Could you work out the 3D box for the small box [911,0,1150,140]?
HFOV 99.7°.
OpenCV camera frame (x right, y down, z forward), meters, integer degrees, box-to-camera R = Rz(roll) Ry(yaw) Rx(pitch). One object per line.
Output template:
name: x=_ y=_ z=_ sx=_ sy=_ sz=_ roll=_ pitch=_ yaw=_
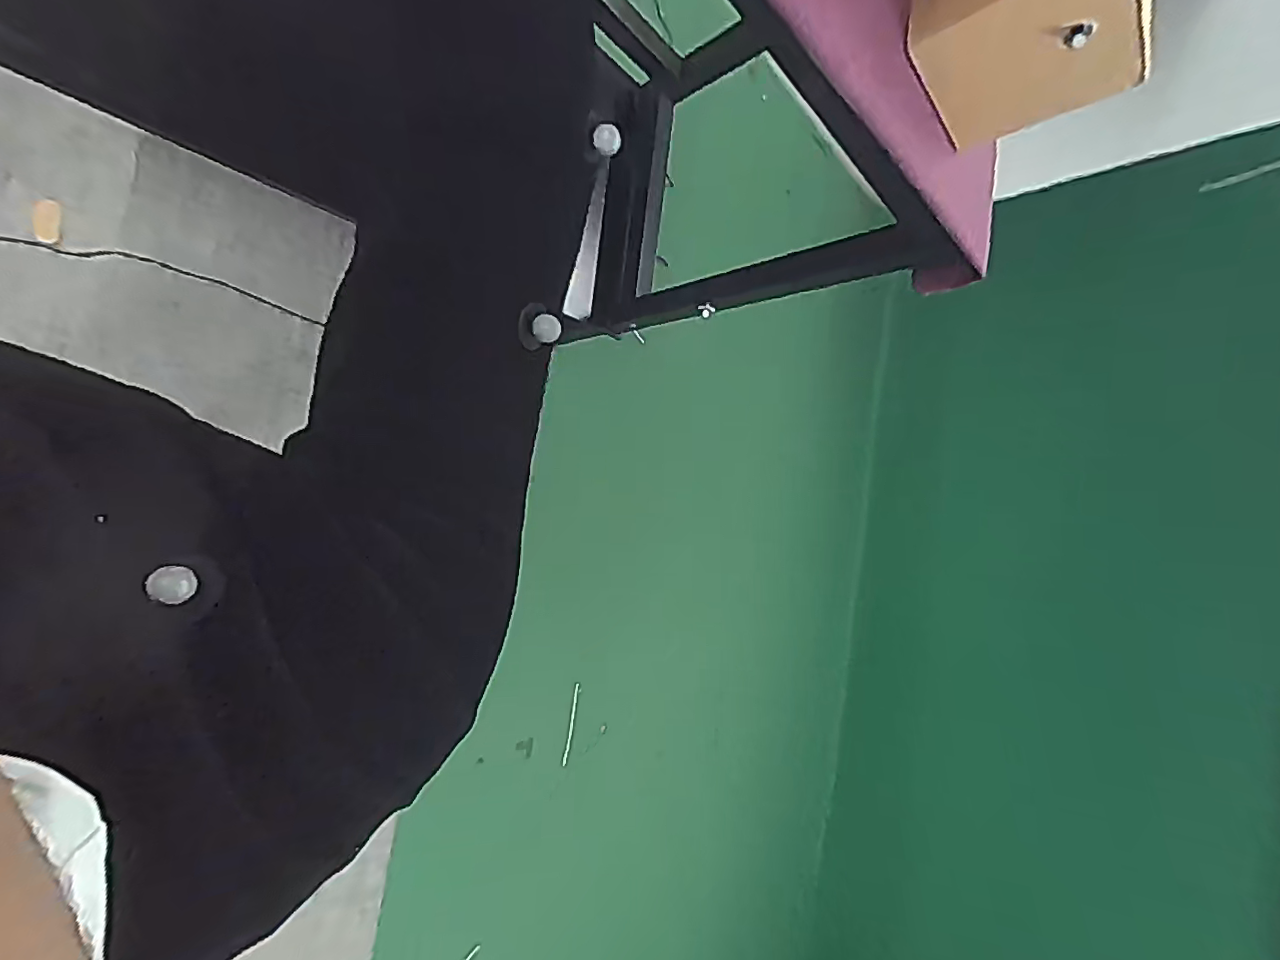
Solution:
small box: x=0.385 y=-0.484 z=0.535 sx=0.179 sy=0.176 sz=0.168 roll=13 pitch=82 yaw=-45
